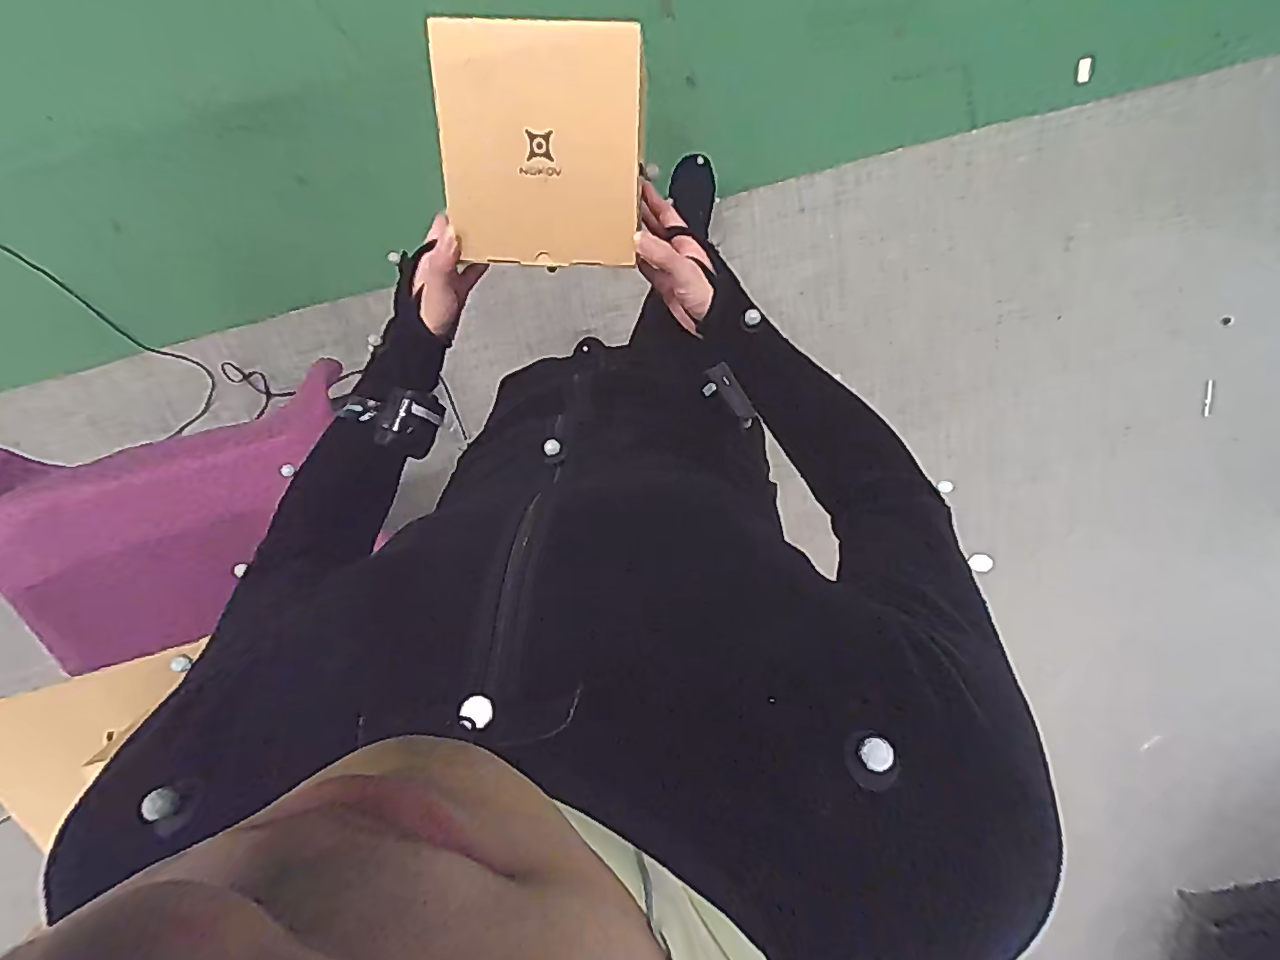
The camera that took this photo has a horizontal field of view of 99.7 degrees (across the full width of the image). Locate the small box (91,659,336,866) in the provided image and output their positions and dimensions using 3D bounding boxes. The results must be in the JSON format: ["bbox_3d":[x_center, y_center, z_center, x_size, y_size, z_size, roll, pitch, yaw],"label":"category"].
[{"bbox_3d":[-0.552,0.373,0.738,0.179,0.176,0.168,-17,108,4],"label":"small box"}]

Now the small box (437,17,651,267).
[{"bbox_3d":[-0.076,-0.304,0.518,0.168,0.176,0.179,1,116,0],"label":"small box"}]
